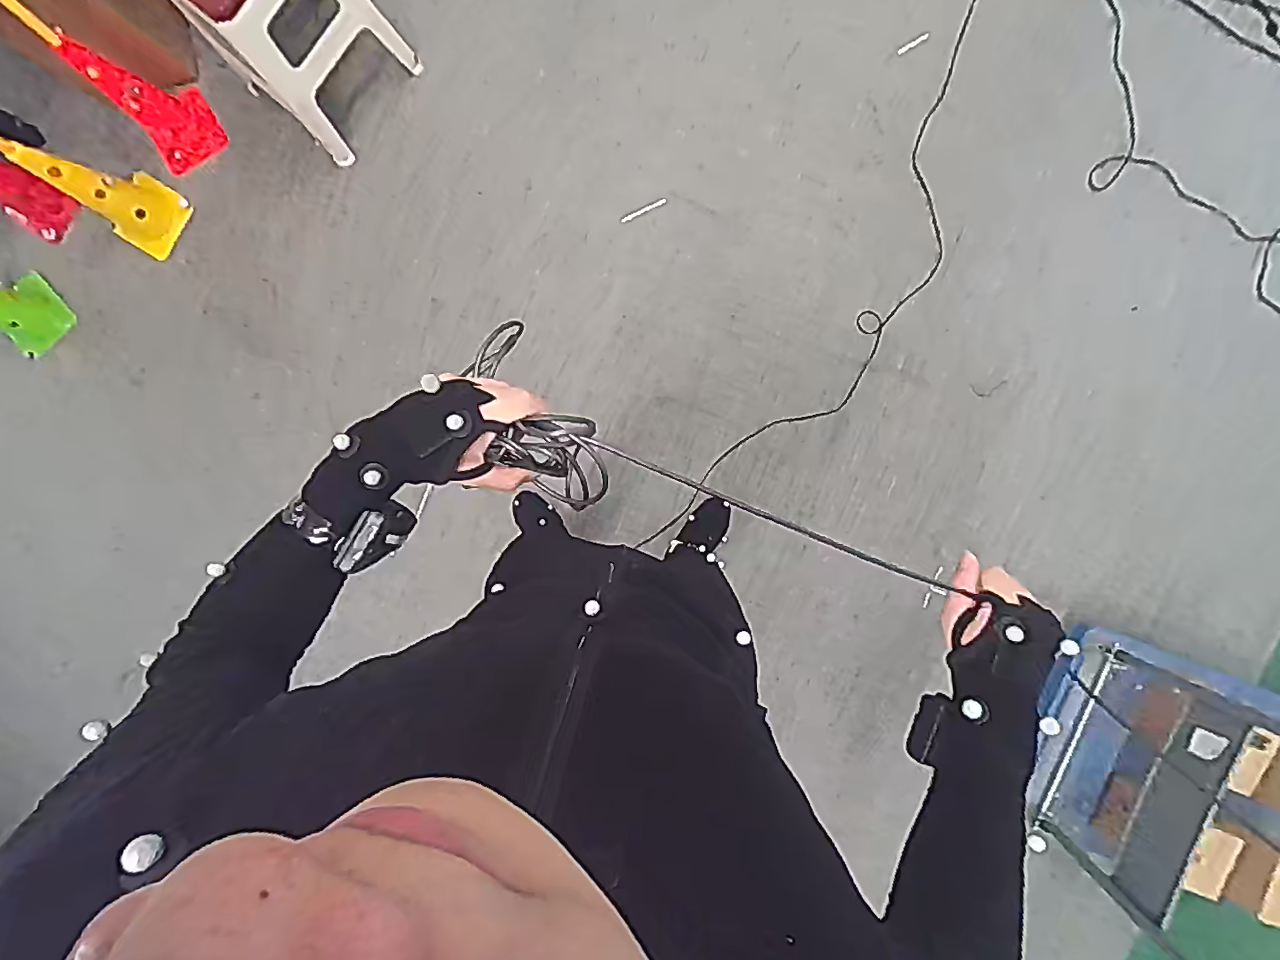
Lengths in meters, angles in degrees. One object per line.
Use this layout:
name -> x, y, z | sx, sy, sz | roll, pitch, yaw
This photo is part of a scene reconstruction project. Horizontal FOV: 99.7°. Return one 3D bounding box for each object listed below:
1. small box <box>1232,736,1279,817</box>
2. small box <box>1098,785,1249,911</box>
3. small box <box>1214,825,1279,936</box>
small box -> 1.643, 0.761, 1.329 | 0.179, 0.176, 0.168 | 17, 94, 1
small box -> 1.318, 0.905, 1.348 | 0.179, 0.176, 0.168 | 22, 93, 2
small box -> 1.570, 1.002, 1.341 | 0.179, 0.176, 0.168 | 17, 92, 2
